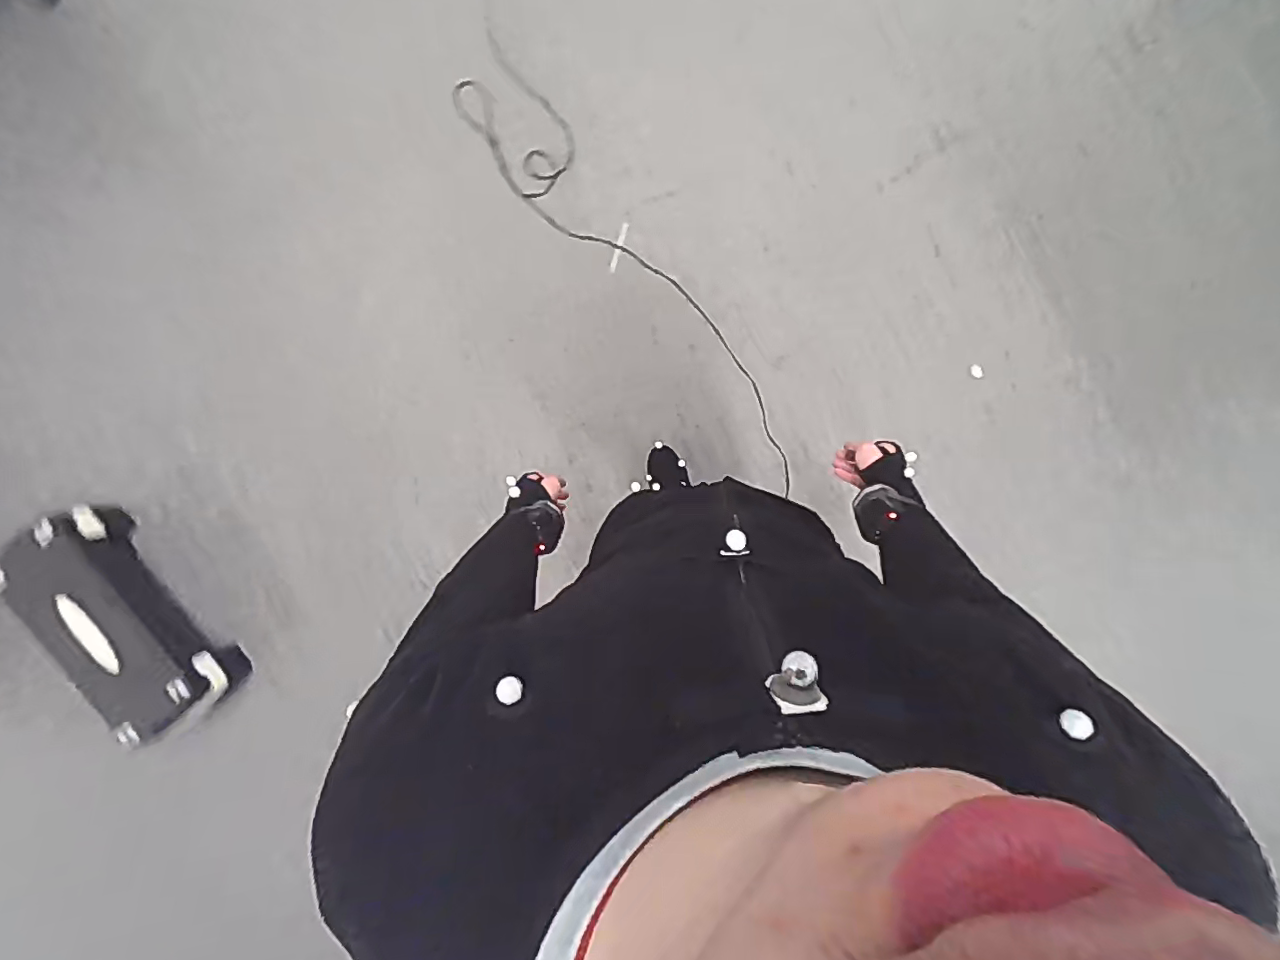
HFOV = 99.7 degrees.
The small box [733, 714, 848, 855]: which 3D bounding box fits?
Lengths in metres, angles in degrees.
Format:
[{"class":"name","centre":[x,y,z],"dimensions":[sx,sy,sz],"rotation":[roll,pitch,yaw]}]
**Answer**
[{"class":"small box","centre":[0.320,0.653,1.179],"dimensions":[0.168,0.176,0.179],"rotation":[-29,93,6]}]

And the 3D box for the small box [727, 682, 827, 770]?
[{"class":"small box","centre":[0.329,0.640,1.341],"dimensions":[0.179,0.176,0.168],"rotation":[-31,92,5]}]

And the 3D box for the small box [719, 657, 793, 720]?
[{"class":"small box","centre":[0.333,0.629,1.505],"dimensions":[0.179,0.176,0.168],"rotation":[-31,93,4]}]
